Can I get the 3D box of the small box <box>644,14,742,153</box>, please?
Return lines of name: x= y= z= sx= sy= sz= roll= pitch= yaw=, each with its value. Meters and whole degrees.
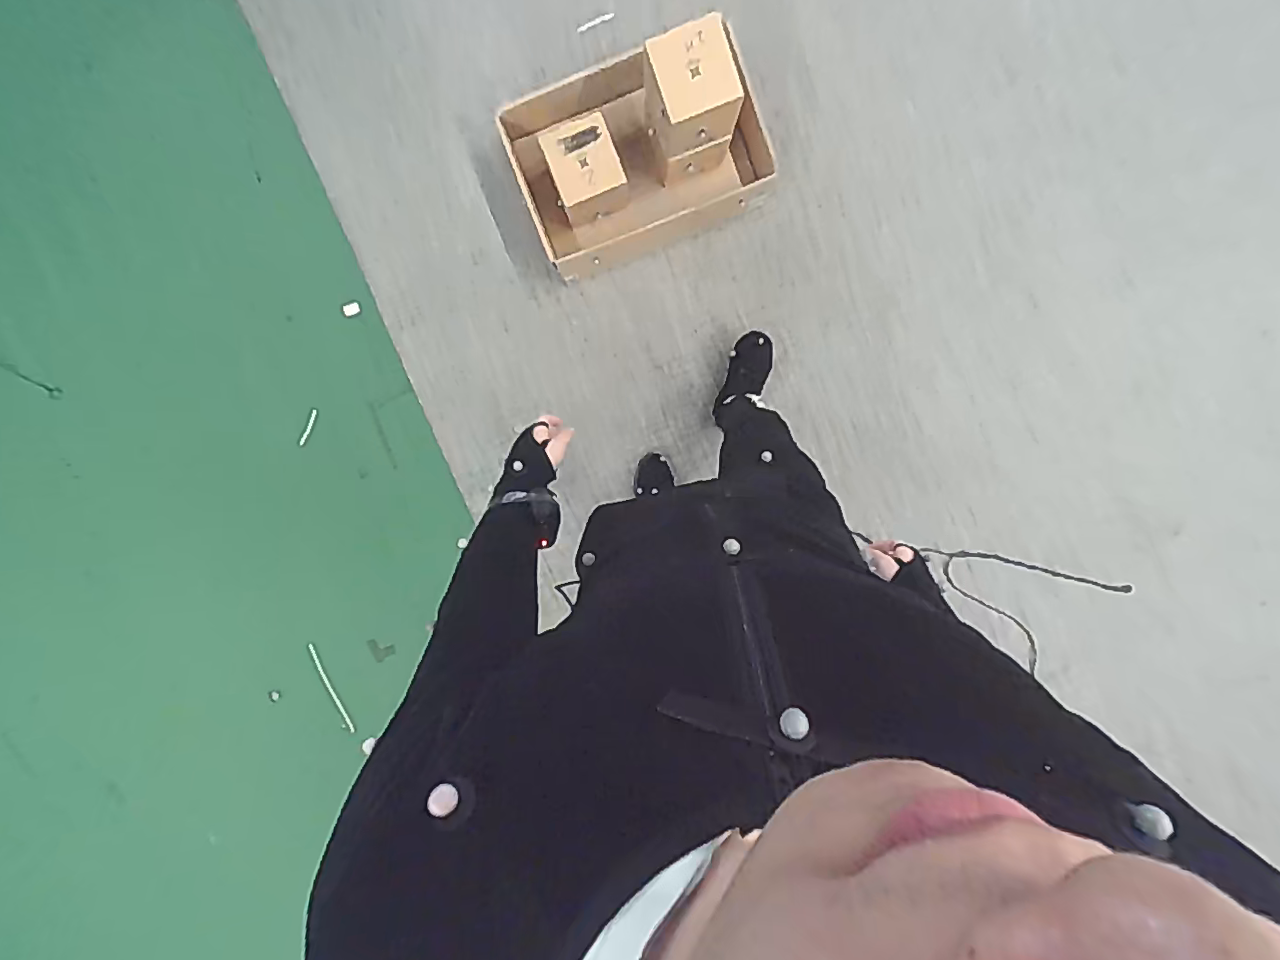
small box: x=0.116 y=-0.871 z=1.214 sx=0.168 sy=0.176 sz=0.179 roll=-19 pitch=96 yaw=3

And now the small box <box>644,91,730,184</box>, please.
small box: x=0.117 y=-0.888 z=1.379 sx=0.168 sy=0.176 sz=0.179 roll=-20 pitch=96 yaw=3
